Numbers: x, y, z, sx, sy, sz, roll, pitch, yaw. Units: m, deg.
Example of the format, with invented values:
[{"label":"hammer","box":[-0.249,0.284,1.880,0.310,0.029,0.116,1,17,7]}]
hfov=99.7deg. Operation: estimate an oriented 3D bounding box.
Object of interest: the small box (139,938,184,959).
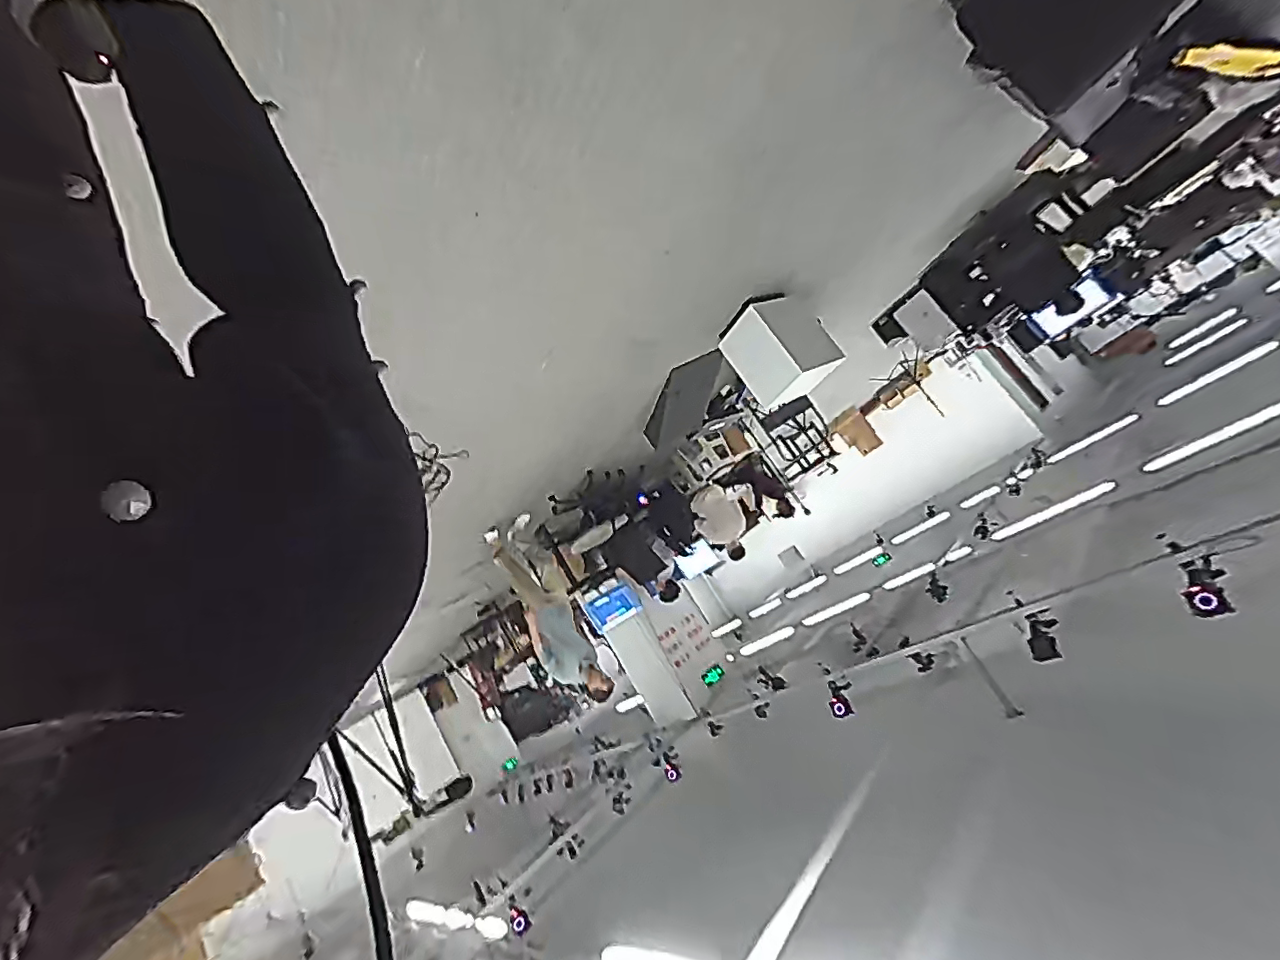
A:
[{"label":"small box","box":[-1.578,1.623,1.732,0.179,0.176,0.168,-42,164,32]}]
